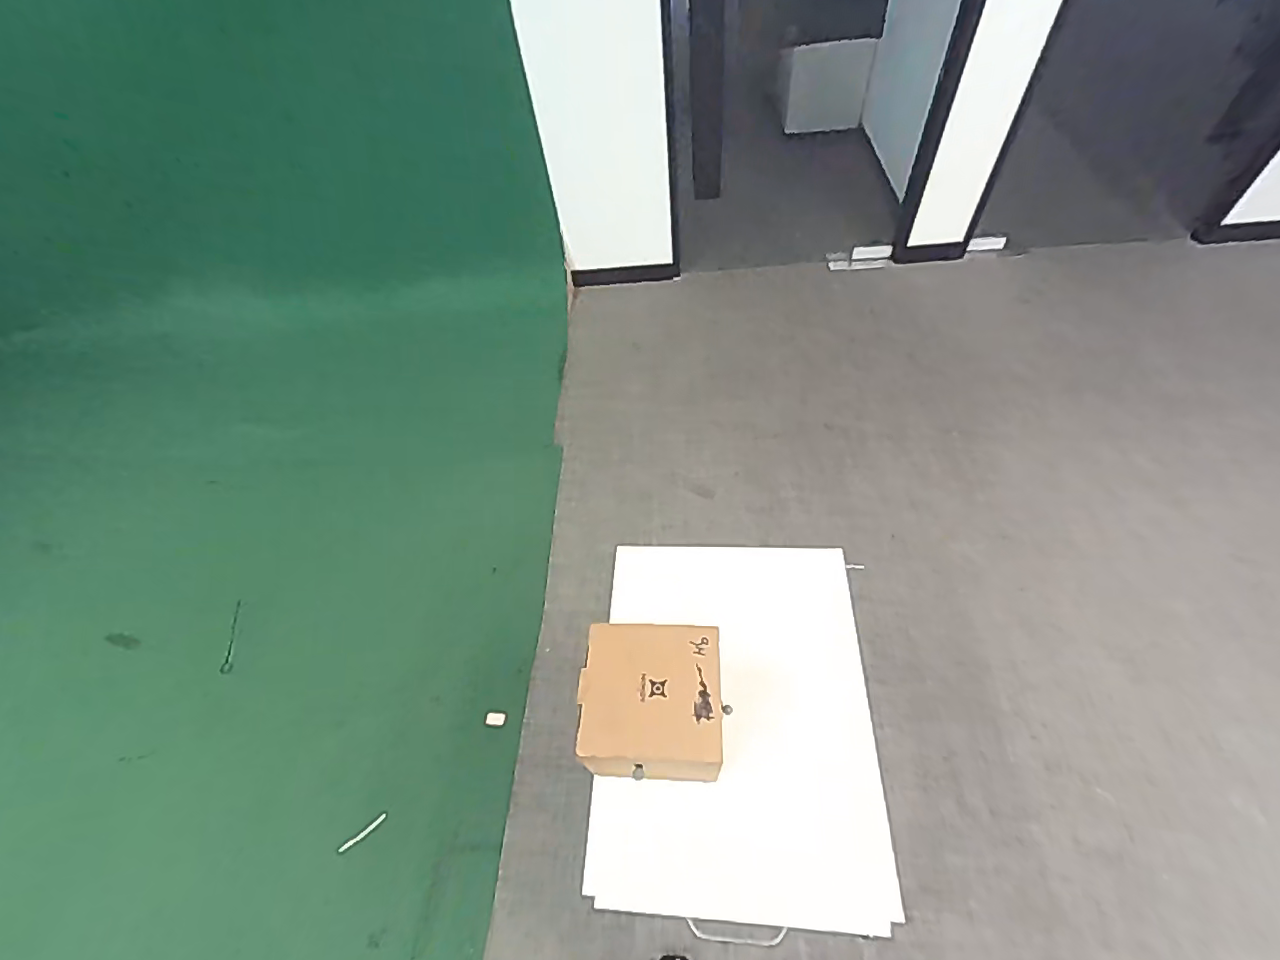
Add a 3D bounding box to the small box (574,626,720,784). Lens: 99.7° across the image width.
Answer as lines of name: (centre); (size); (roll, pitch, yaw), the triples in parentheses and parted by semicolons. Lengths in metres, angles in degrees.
small box: (0.019, 0.310, 0.738); (0.179, 0.176, 0.168); (0, 55, 6)
